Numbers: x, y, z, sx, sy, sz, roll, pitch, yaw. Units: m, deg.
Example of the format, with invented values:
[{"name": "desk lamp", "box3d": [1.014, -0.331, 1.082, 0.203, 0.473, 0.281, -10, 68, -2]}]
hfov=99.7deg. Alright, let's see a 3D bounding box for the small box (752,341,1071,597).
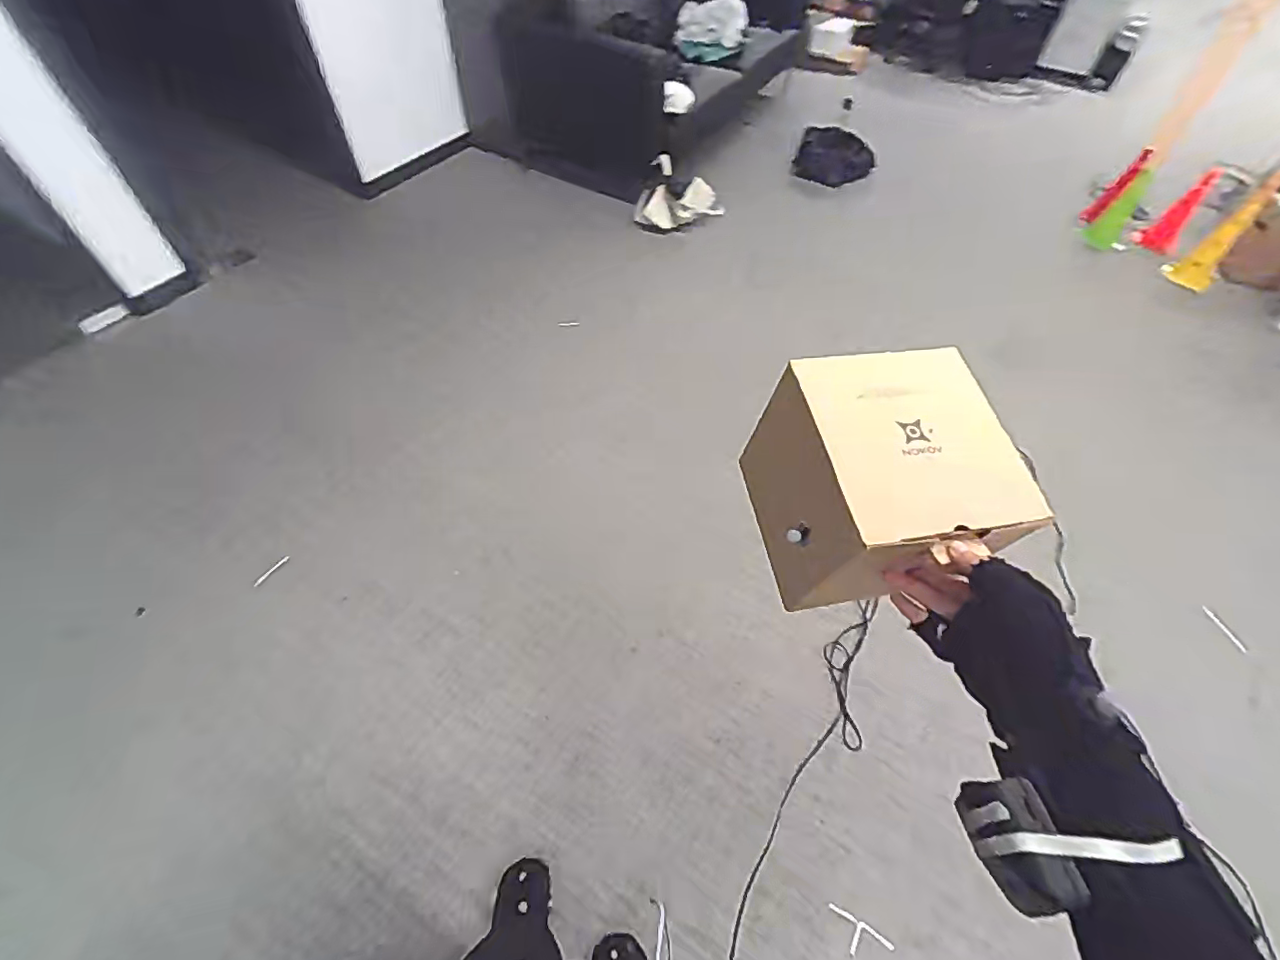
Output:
[{"name": "small box", "box3d": [0.219, -0.001, 0.494, 0.168, 0.176, 0.179, -6, 62, -10]}]
